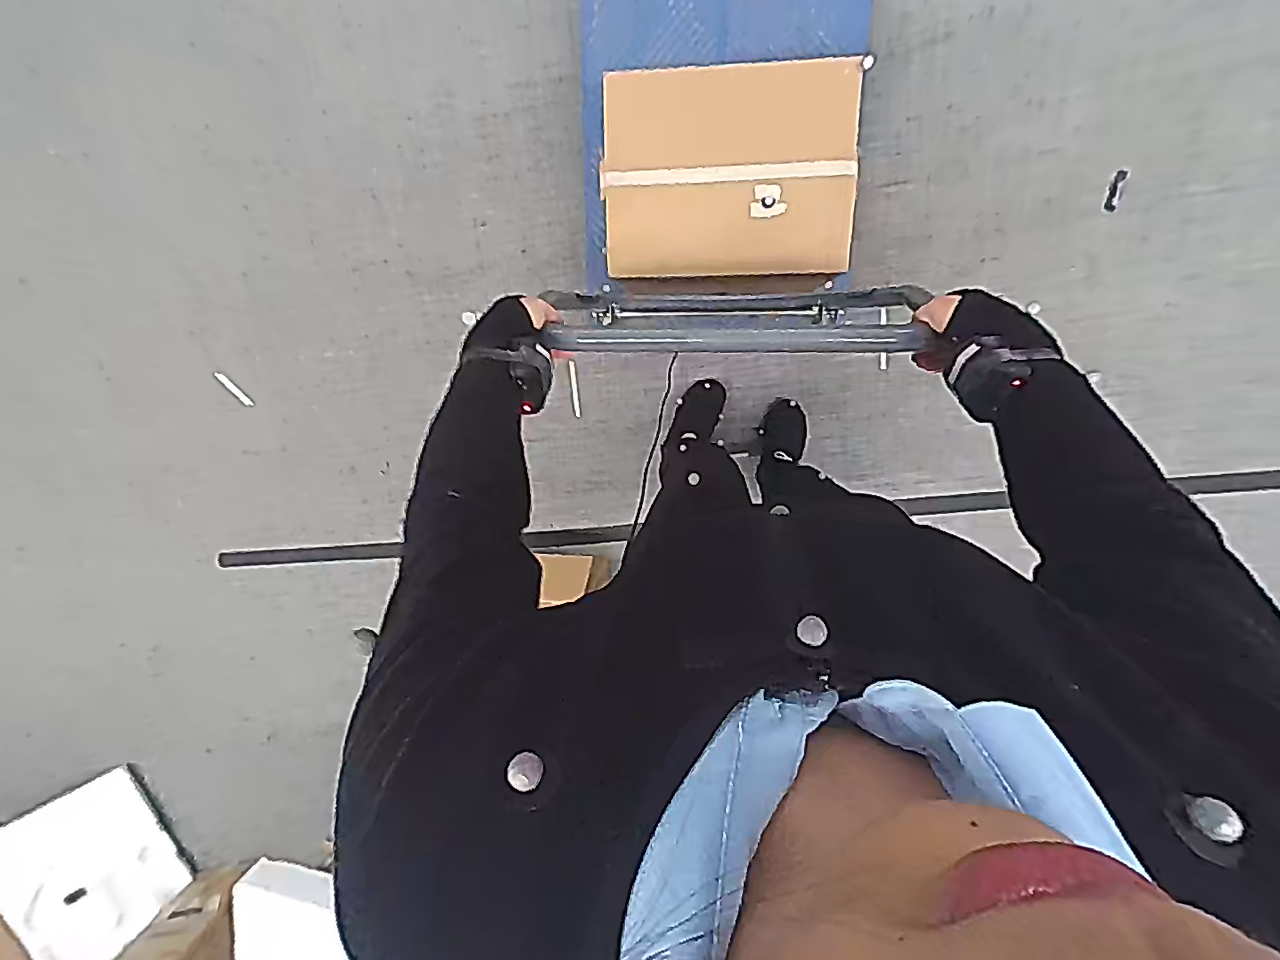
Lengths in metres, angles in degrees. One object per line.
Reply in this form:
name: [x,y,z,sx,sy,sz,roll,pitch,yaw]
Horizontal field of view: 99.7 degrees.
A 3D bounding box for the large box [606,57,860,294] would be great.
large box: [0.159,-0.537,1.030,0.408,0.320,0.320,1,104,6]
